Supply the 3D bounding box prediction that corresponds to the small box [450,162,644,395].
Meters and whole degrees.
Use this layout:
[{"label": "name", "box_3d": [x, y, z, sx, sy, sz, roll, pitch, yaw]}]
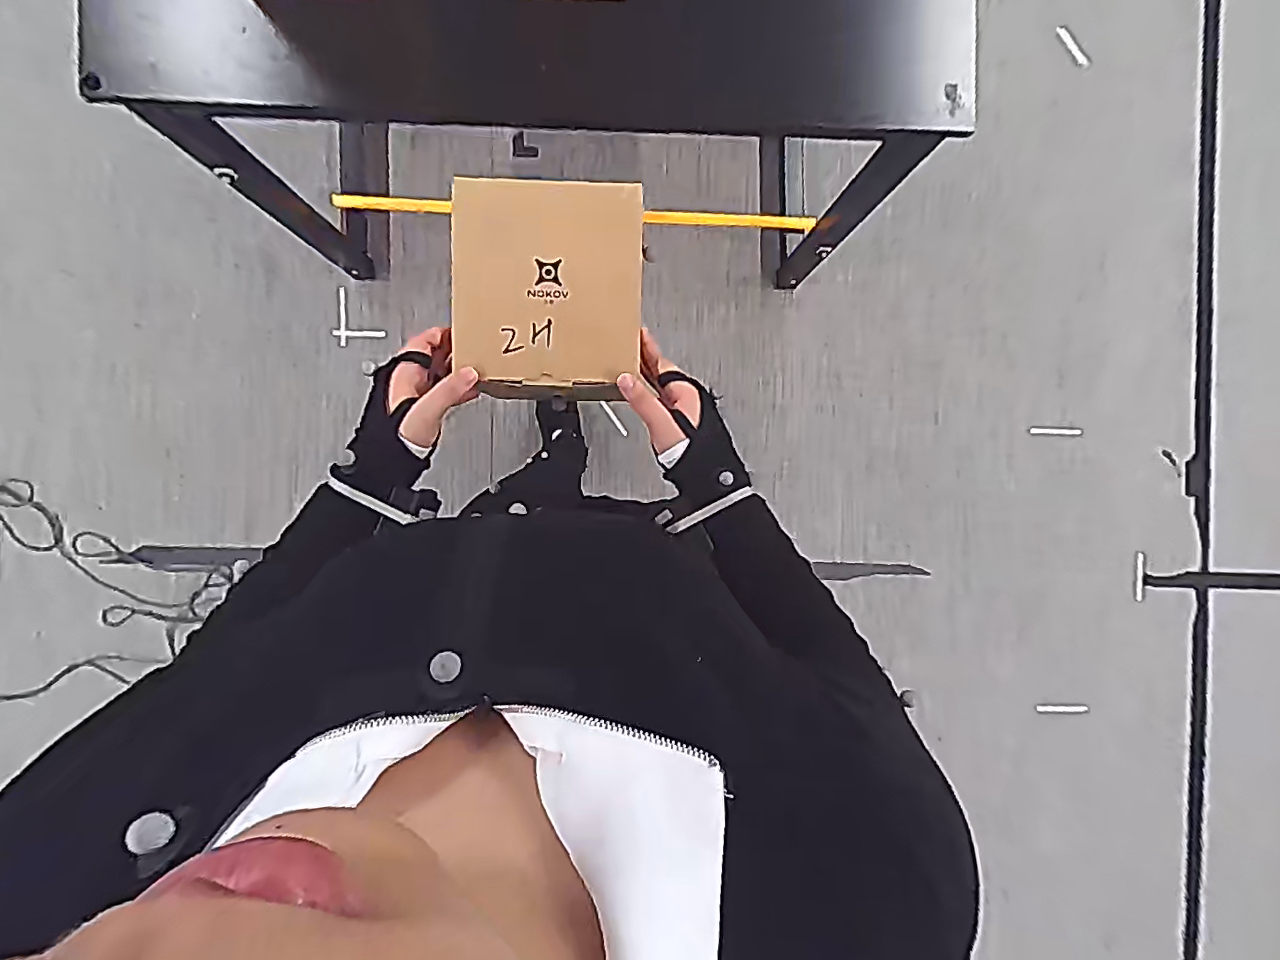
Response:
[{"label": "small box", "box_3d": [-0.085, -0.187, 0.549, 0.168, 0.176, 0.179, 1, 92, -2]}]
